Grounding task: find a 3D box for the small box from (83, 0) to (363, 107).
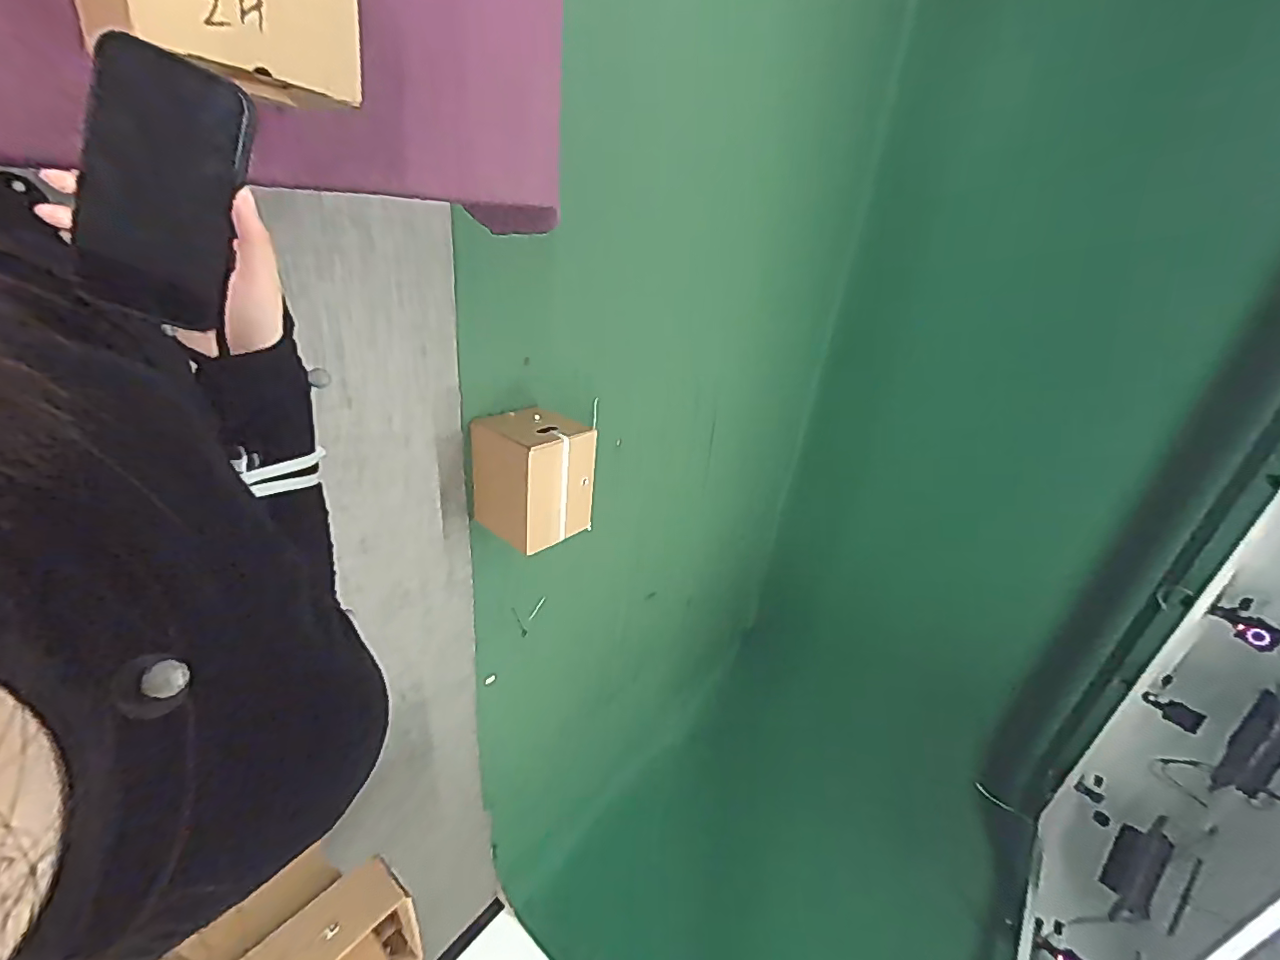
[{"bbox_3d":[-0.363,-0.447,0.465,0.168,0.176,0.179,-18,126,-48],"label":"small box"}]
